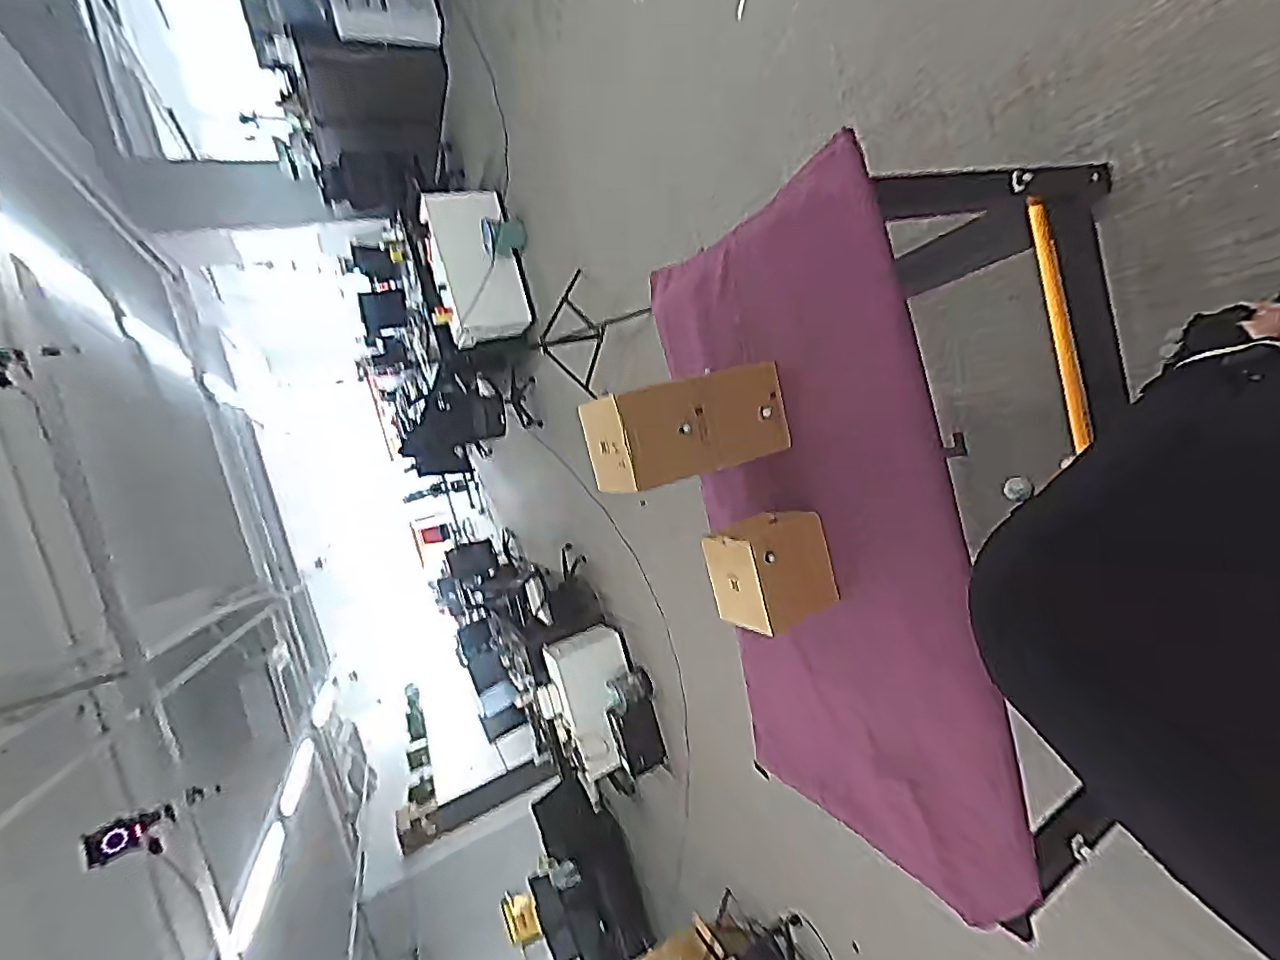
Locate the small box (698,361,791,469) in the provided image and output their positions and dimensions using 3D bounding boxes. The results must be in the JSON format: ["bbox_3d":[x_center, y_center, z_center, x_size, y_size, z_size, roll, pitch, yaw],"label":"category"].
[{"bbox_3d":[0.158,-0.121,1.031,0.179,0.176,0.168,1,107,64],"label":"small box"}]

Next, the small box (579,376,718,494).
[{"bbox_3d":[0.014,-0.080,0.962,0.179,0.176,0.168,1,107,64],"label":"small box"}]

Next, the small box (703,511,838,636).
[{"bbox_3d":[0.249,0.168,1.029,0.168,0.176,0.179,-7,98,65],"label":"small box"}]
